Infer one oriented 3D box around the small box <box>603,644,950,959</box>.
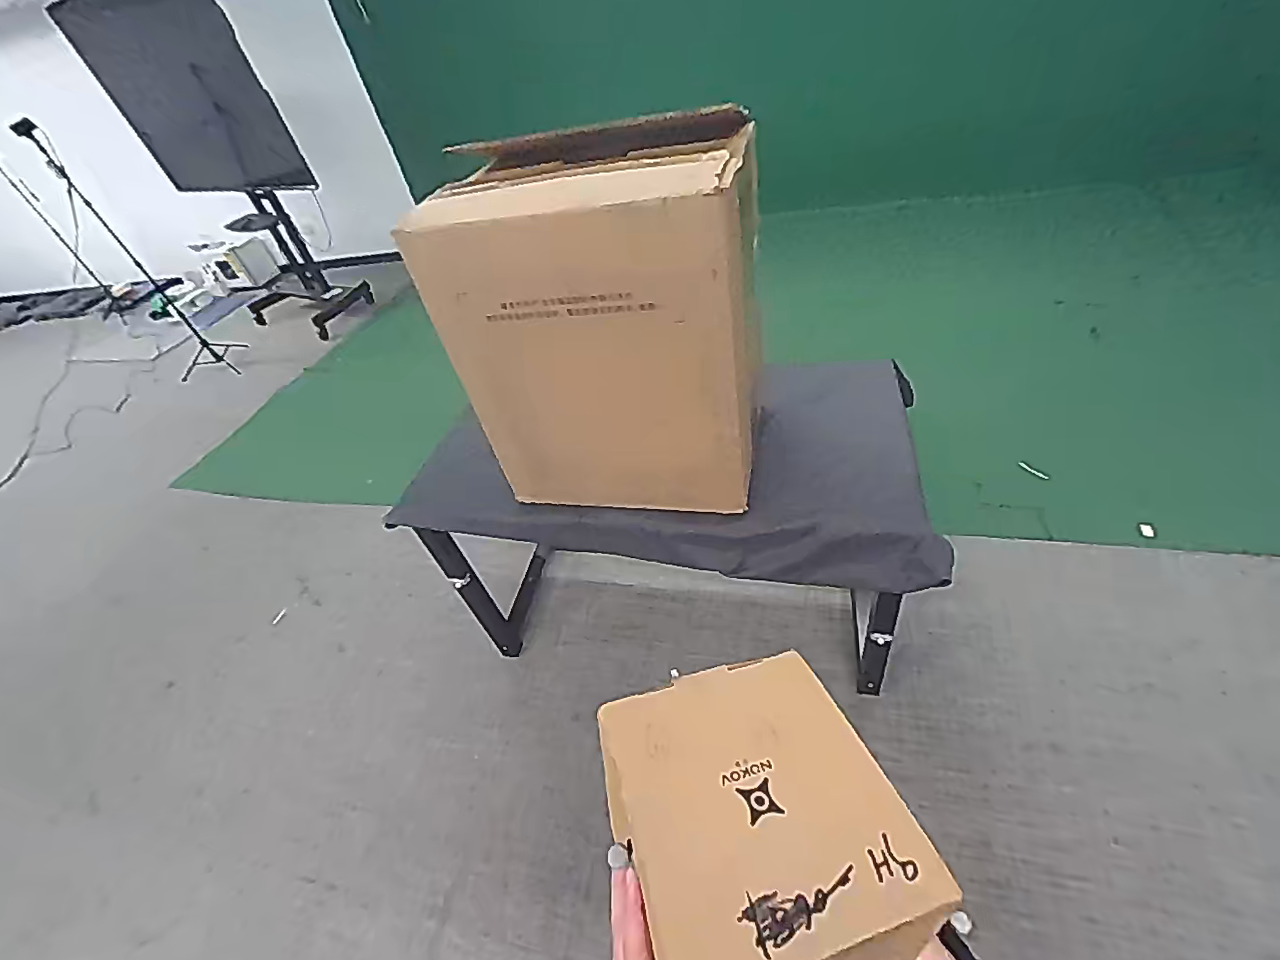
[{"bbox_3d":[0.074,0.257,0.393,0.168,0.176,0.179,-12,34,-13],"label":"small box"}]
